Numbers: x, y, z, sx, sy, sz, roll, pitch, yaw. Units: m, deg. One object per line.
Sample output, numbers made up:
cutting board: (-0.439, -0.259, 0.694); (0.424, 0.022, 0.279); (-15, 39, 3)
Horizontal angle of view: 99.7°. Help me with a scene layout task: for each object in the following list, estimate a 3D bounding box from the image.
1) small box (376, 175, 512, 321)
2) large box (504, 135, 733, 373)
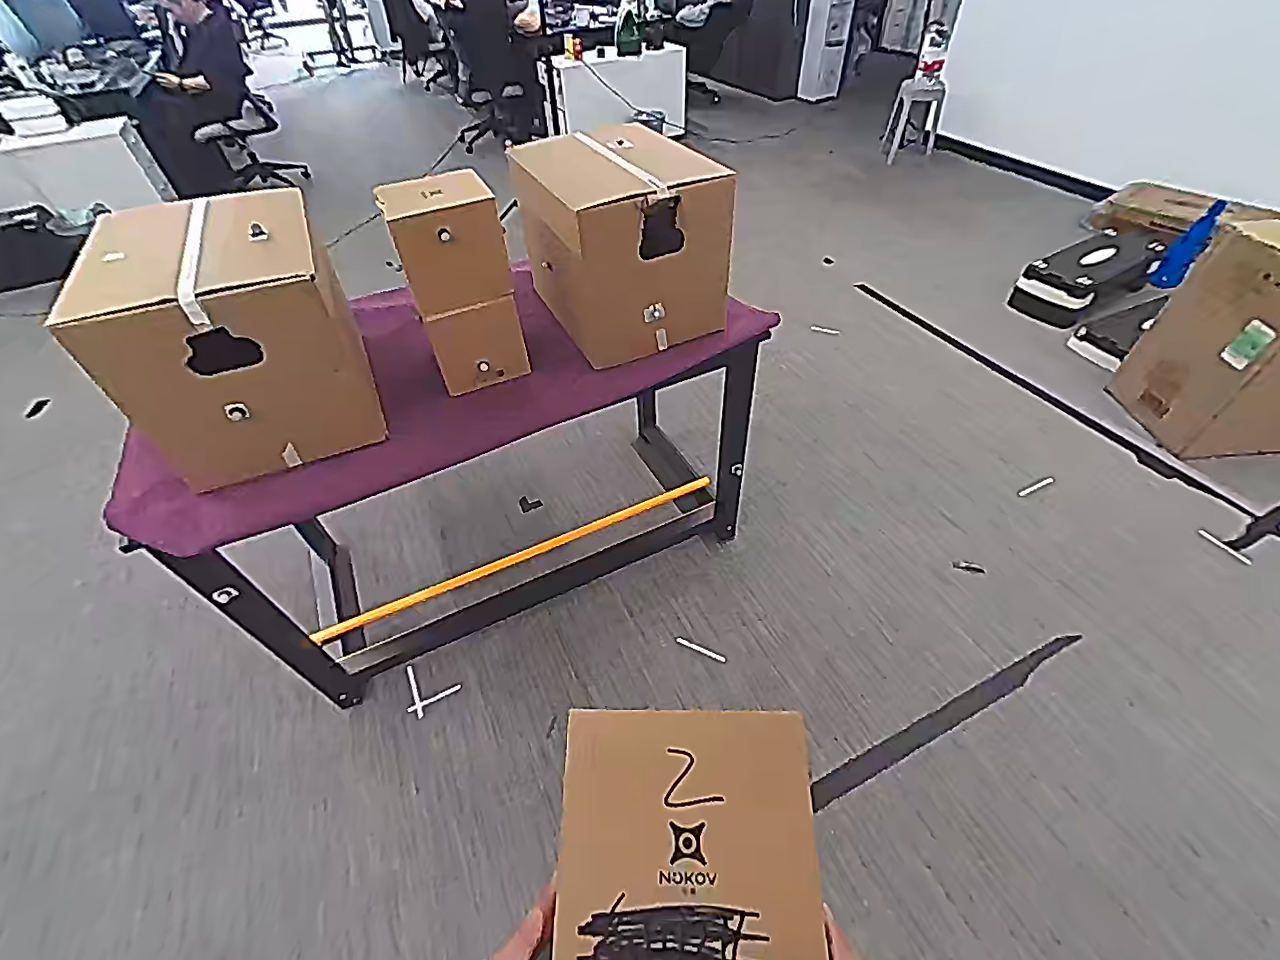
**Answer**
small box: (-0.338, -0.410, 0.958); (0.179, 0.176, 0.168); (-22, 49, -15)
large box: (-0.047, -0.487, 1.143); (0.320, 0.320, 0.408); (-22, 48, -17)
